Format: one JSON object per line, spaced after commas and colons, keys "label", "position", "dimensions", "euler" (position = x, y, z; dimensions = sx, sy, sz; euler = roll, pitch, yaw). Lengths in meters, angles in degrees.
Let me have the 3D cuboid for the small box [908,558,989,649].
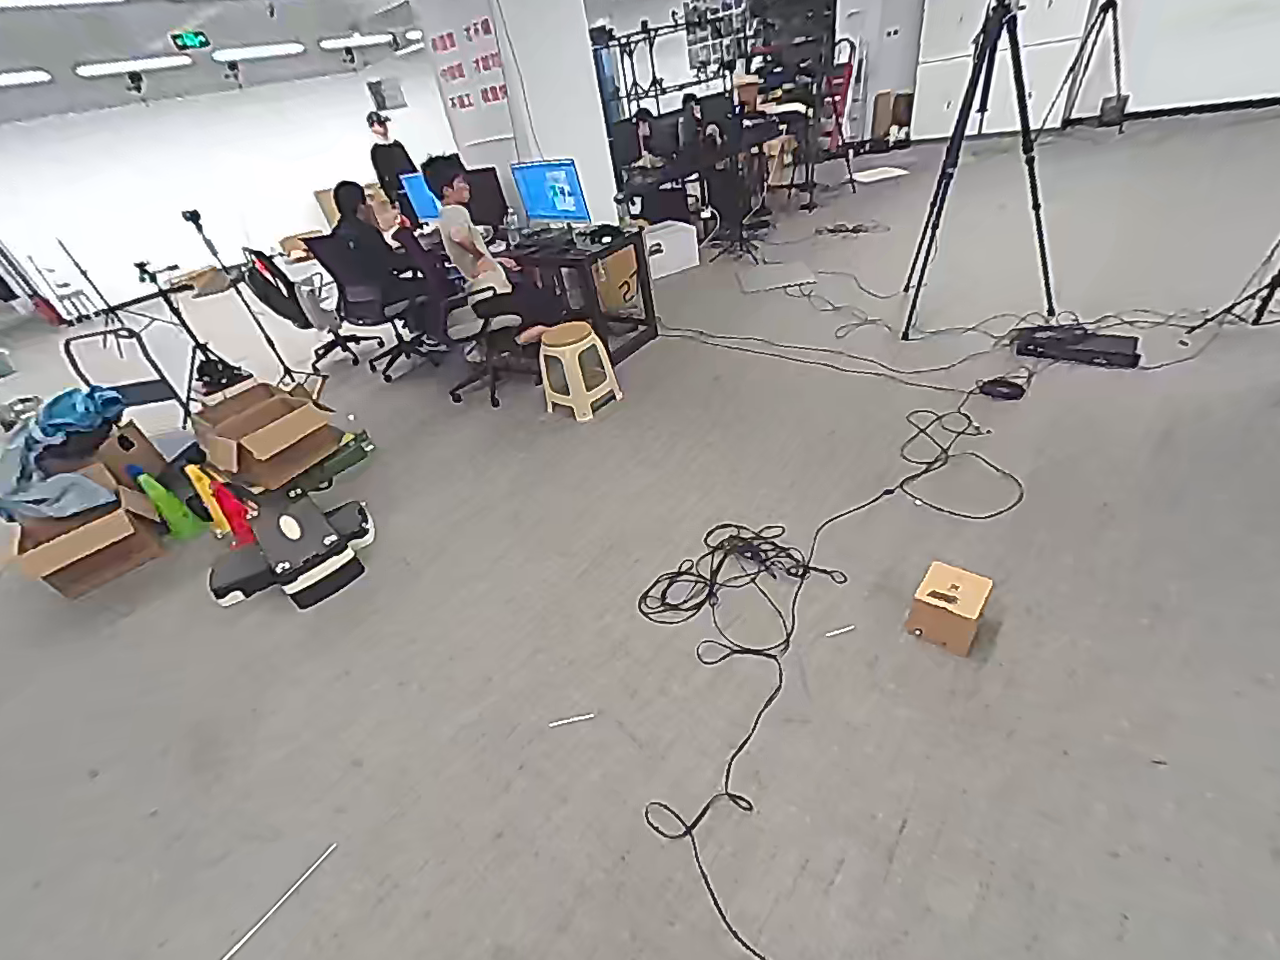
{"label": "small box", "position": [0.930, 0.377, 1.640], "dimensions": [0.168, 0.176, 0.179], "euler": [21, 48, 37]}
